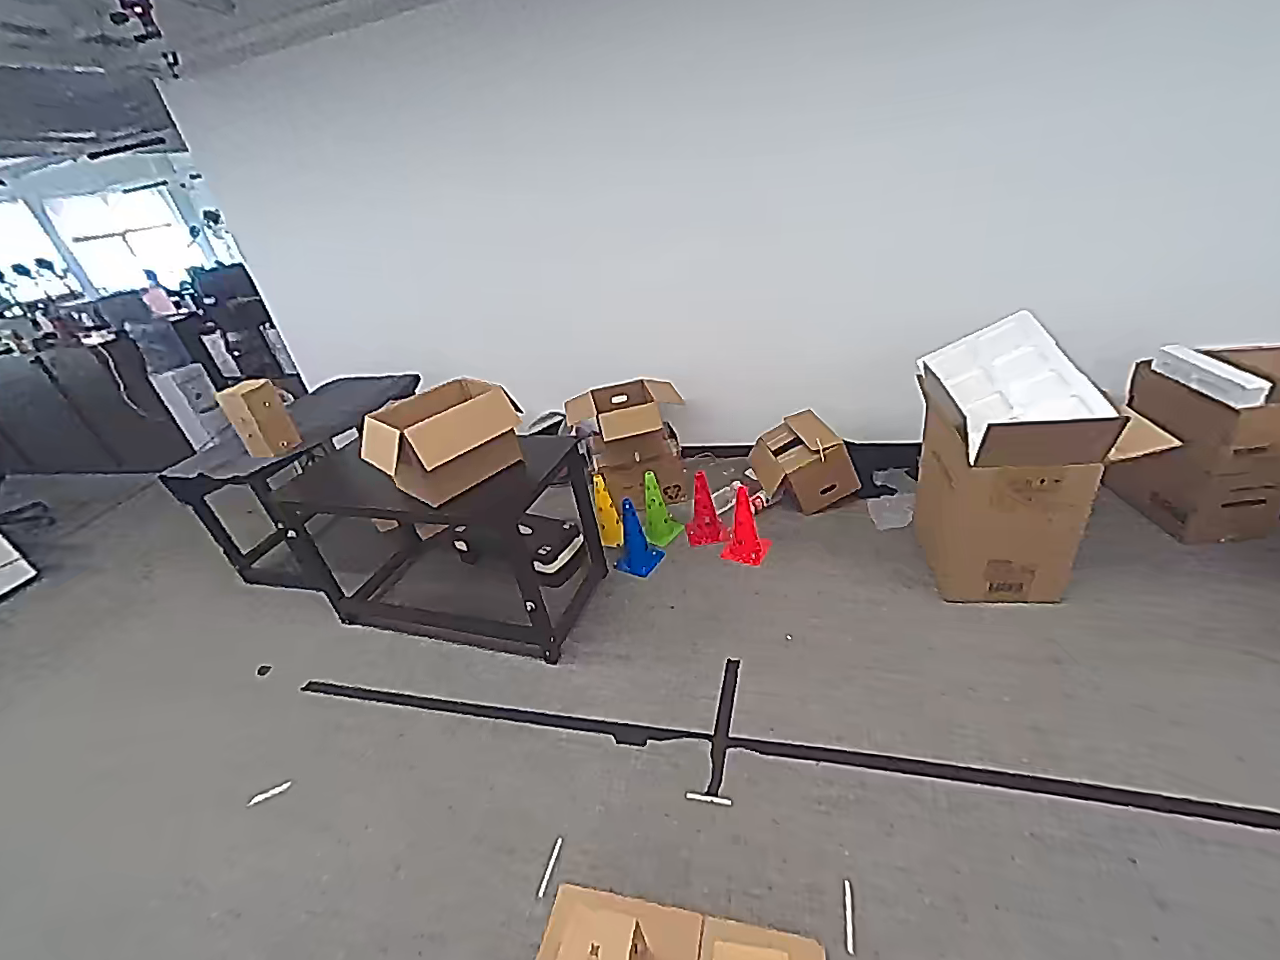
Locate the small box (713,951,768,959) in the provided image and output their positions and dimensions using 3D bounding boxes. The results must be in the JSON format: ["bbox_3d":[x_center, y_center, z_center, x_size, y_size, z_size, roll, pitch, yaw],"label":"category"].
[{"bbox_3d":[0.235,1.150,1.142,0.168,0.176,0.179,-2,30,13],"label":"small box"}]

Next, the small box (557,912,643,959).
[{"bbox_3d":[-0.095,1.146,1.238,0.168,0.176,0.179,-1,31,16],"label":"small box"}]
